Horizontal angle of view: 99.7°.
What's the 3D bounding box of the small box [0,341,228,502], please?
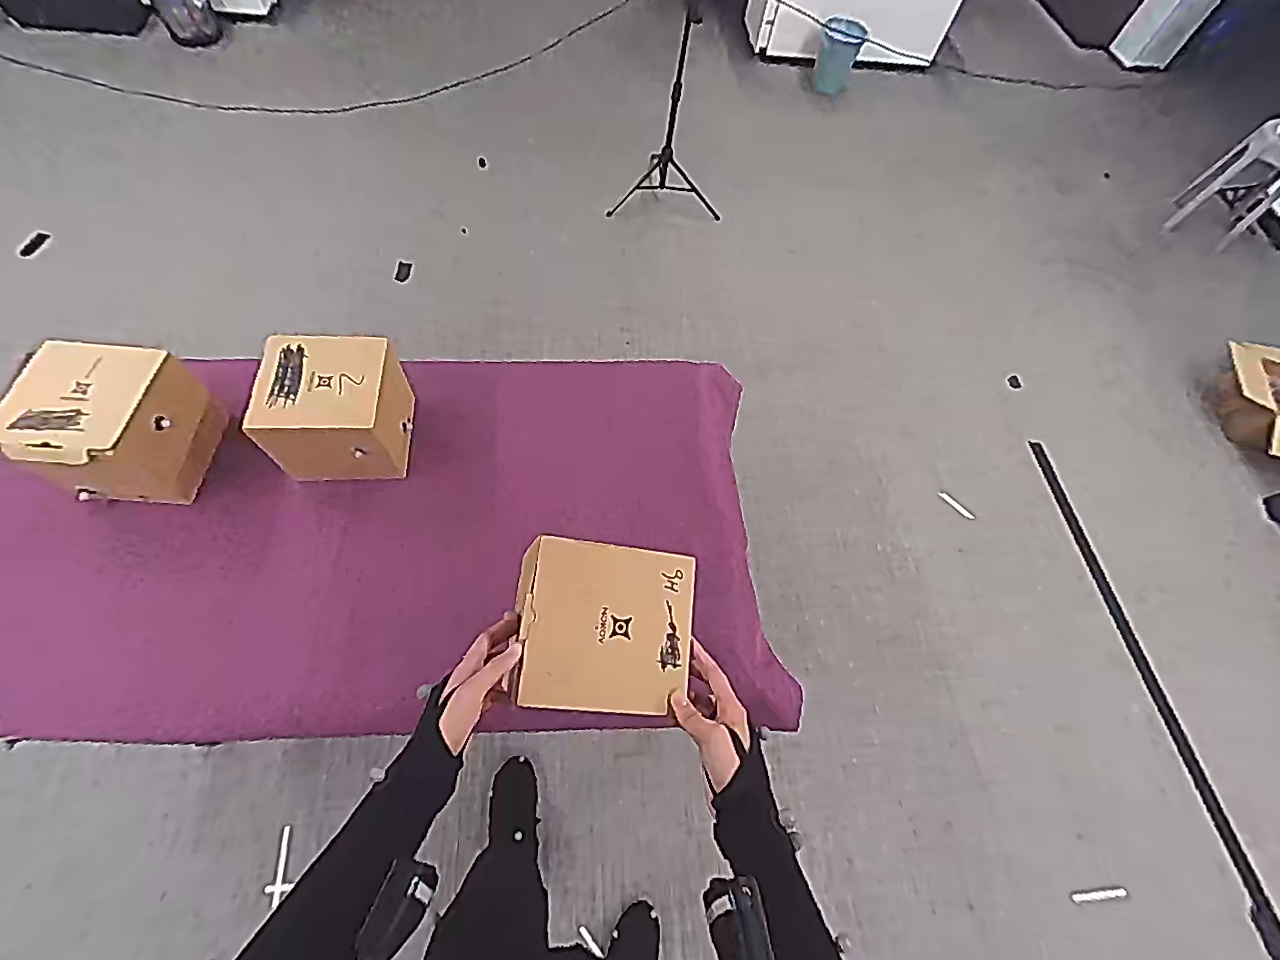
[{"bbox_3d":[-0.767,-0.078,0.807,0.168,0.176,0.179,4,63,-5],"label":"small box"}]
